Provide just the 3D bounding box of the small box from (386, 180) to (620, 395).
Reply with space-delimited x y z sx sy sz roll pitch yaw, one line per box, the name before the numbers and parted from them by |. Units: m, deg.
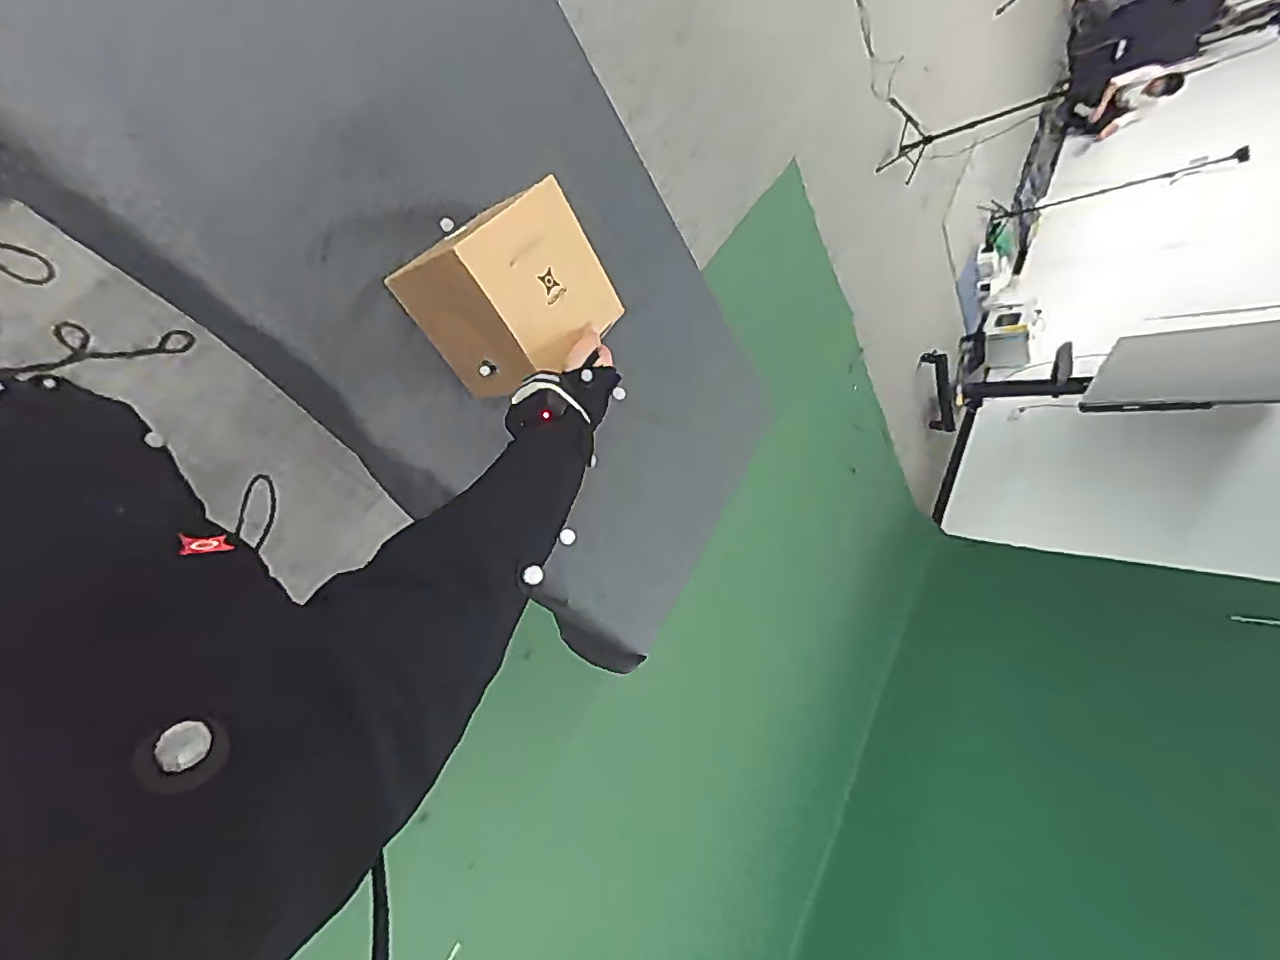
small box | -0.162 -0.219 0.655 0.168 0.176 0.179 -55 128 -30
